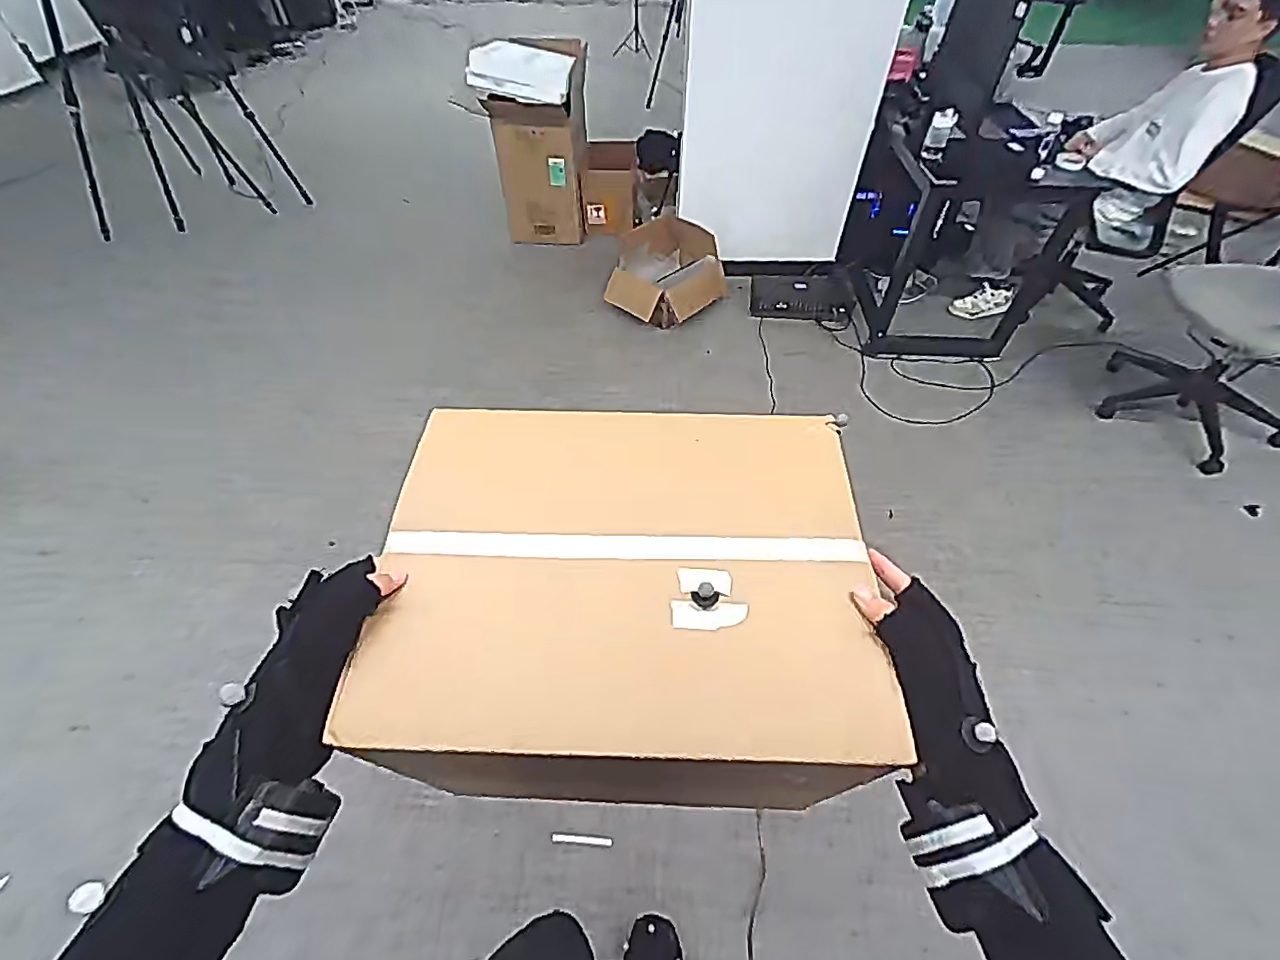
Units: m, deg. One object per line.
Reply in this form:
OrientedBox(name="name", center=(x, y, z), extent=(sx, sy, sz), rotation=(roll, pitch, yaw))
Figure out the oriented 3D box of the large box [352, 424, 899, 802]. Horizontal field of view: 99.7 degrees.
OrientedBox(name="large box", center=(-0.010, 0.156, 0.593), extent=(0.408, 0.320, 0.320), rotation=(1, 54, 1))
